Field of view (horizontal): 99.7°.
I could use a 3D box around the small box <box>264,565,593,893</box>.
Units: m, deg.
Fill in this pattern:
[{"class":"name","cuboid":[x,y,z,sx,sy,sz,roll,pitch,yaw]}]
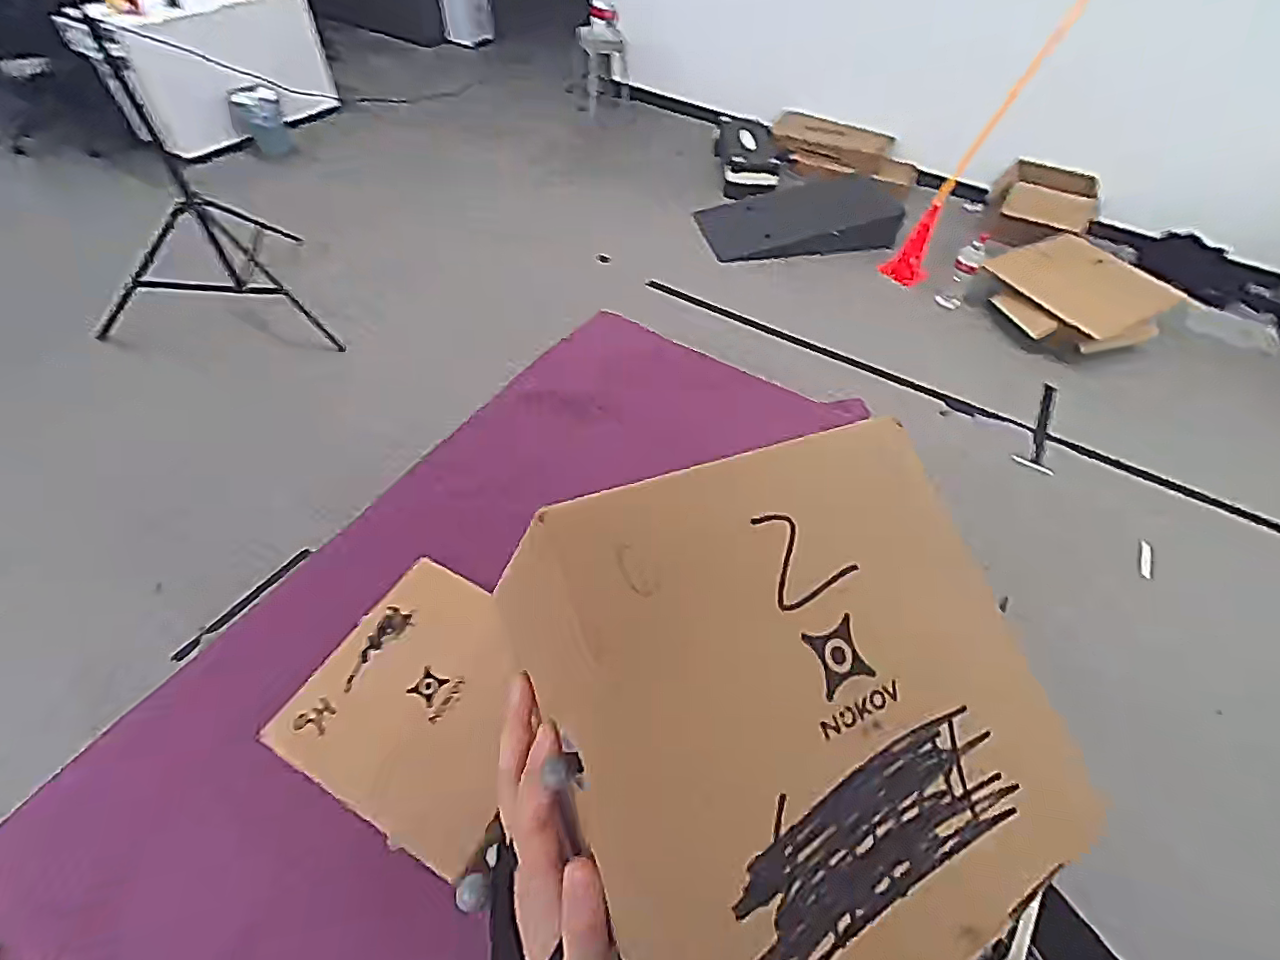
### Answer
[{"class":"small box","cuboid":[-0.154,0.209,0.462,0.179,0.176,0.168,26,56,14]}]
